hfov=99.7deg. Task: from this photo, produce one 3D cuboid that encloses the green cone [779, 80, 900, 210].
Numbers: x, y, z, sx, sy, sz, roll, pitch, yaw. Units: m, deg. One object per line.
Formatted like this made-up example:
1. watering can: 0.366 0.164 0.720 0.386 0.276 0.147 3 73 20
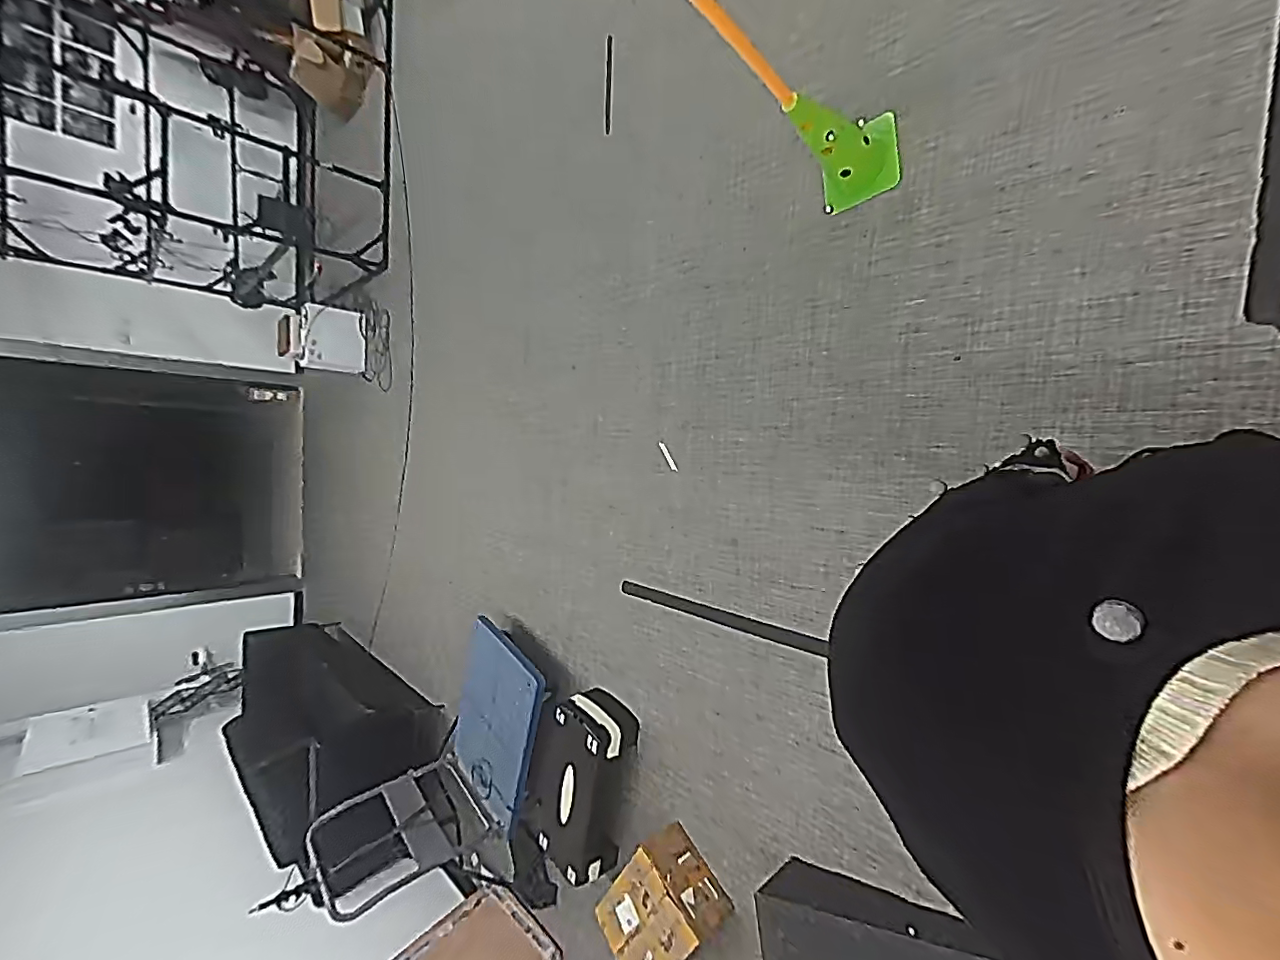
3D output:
1. green cone: 0.455 -0.847 1.308 0.200 0.368 0.202 -9 82 46
